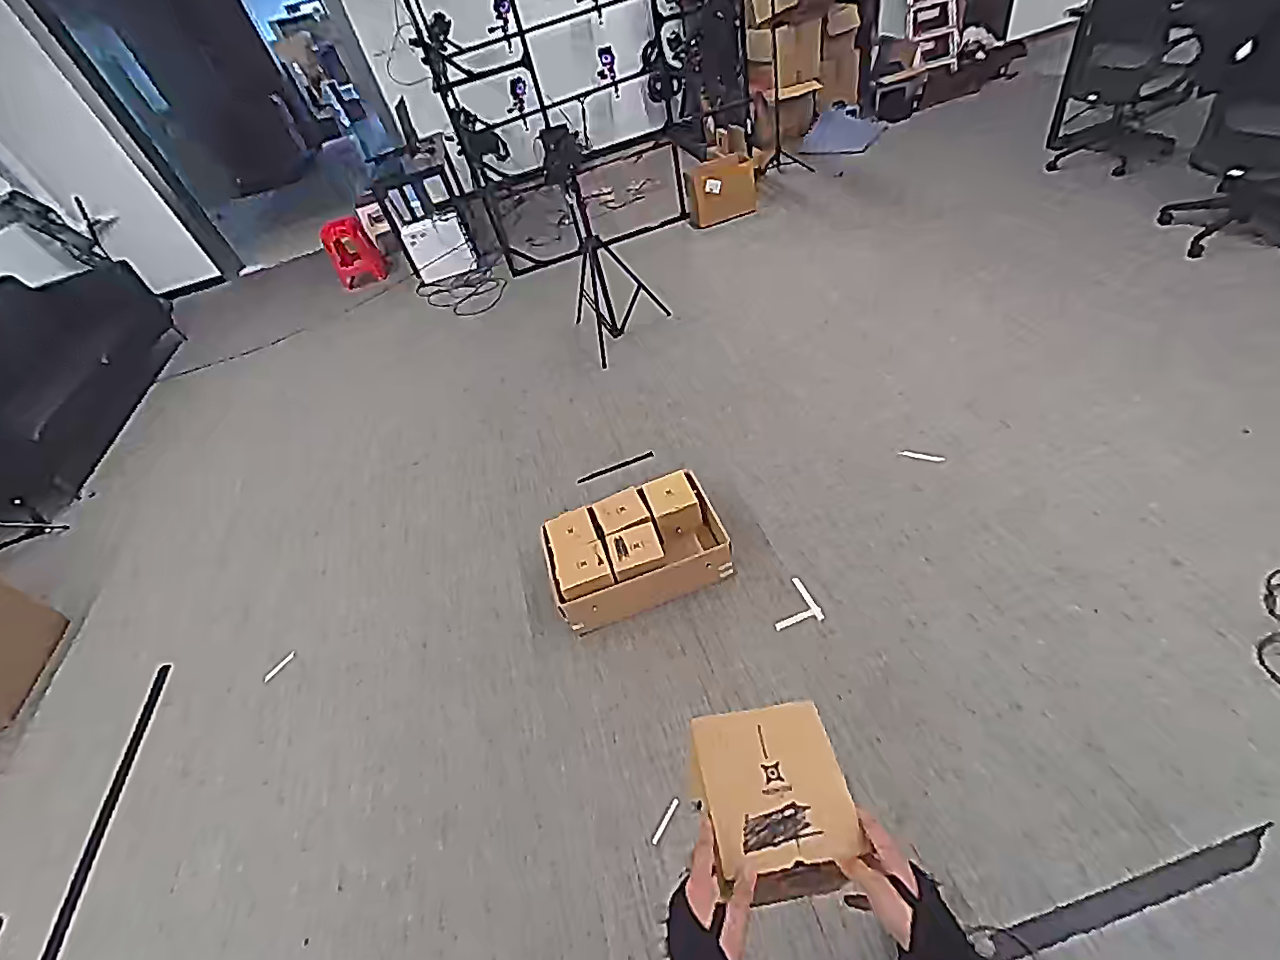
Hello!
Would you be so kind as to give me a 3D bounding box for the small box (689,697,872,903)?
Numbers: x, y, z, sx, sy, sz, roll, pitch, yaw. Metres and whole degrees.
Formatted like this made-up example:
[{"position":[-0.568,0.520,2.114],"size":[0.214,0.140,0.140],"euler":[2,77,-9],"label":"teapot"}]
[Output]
[{"position":[0.159,0.404,0.679],"size":[0.168,0.176,0.179],"euler":[-7,42,-5],"label":"small box"}]
